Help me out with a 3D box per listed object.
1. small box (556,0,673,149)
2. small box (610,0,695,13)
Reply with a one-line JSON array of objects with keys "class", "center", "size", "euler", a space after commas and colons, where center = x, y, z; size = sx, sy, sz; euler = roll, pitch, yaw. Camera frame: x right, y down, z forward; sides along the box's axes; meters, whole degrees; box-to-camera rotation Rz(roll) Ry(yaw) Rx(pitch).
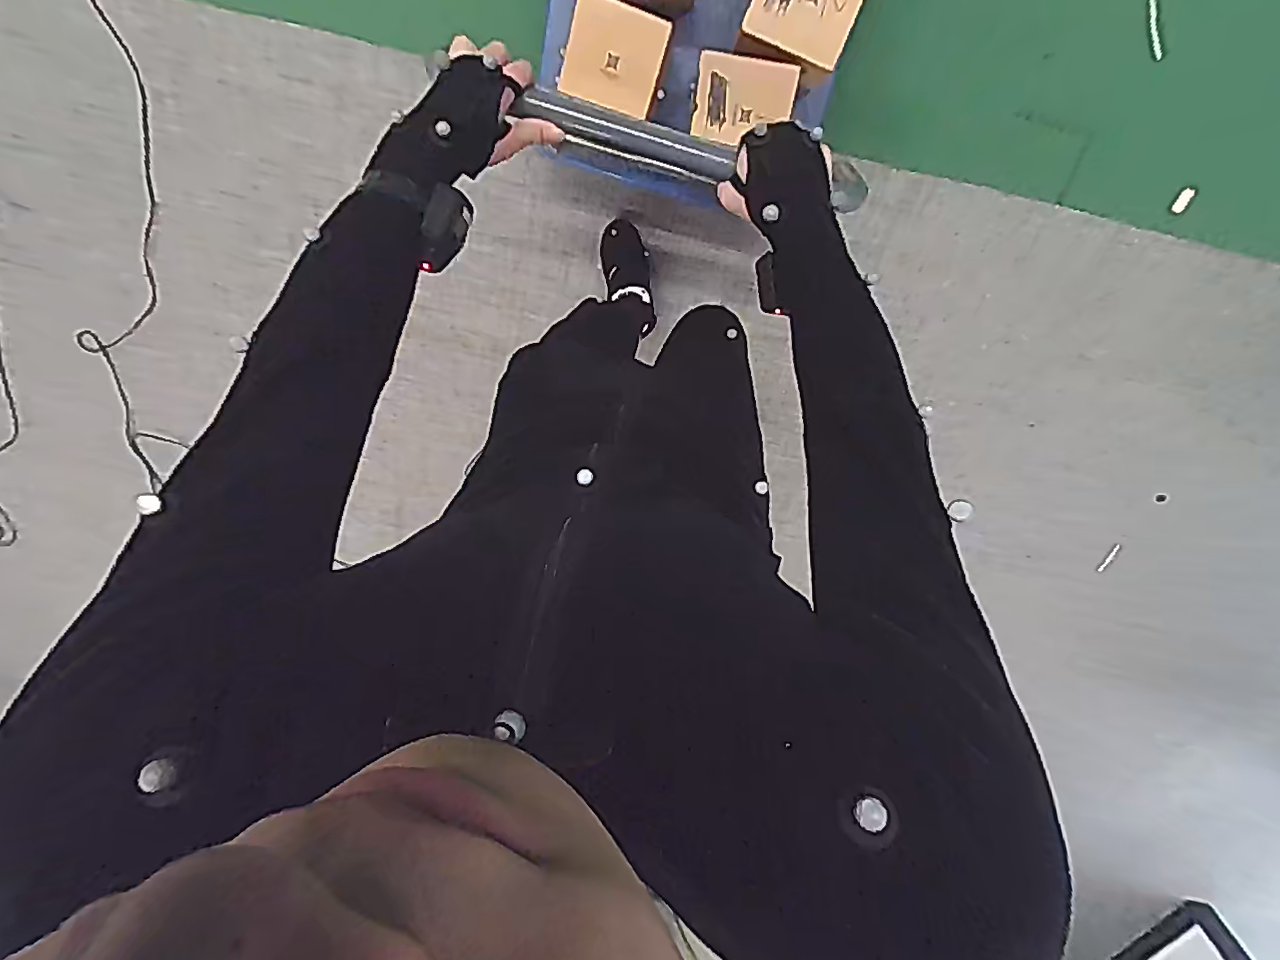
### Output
[{"class": "small box", "center": [-0.045, -0.750, 1.016], "size": [0.168, 0.176, 0.179], "euler": [19, 117, -6]}, {"class": "small box", "center": [0.021, -0.931, 0.920], "size": [0.168, 0.176, 0.179], "euler": [4, 117, 1]}]
